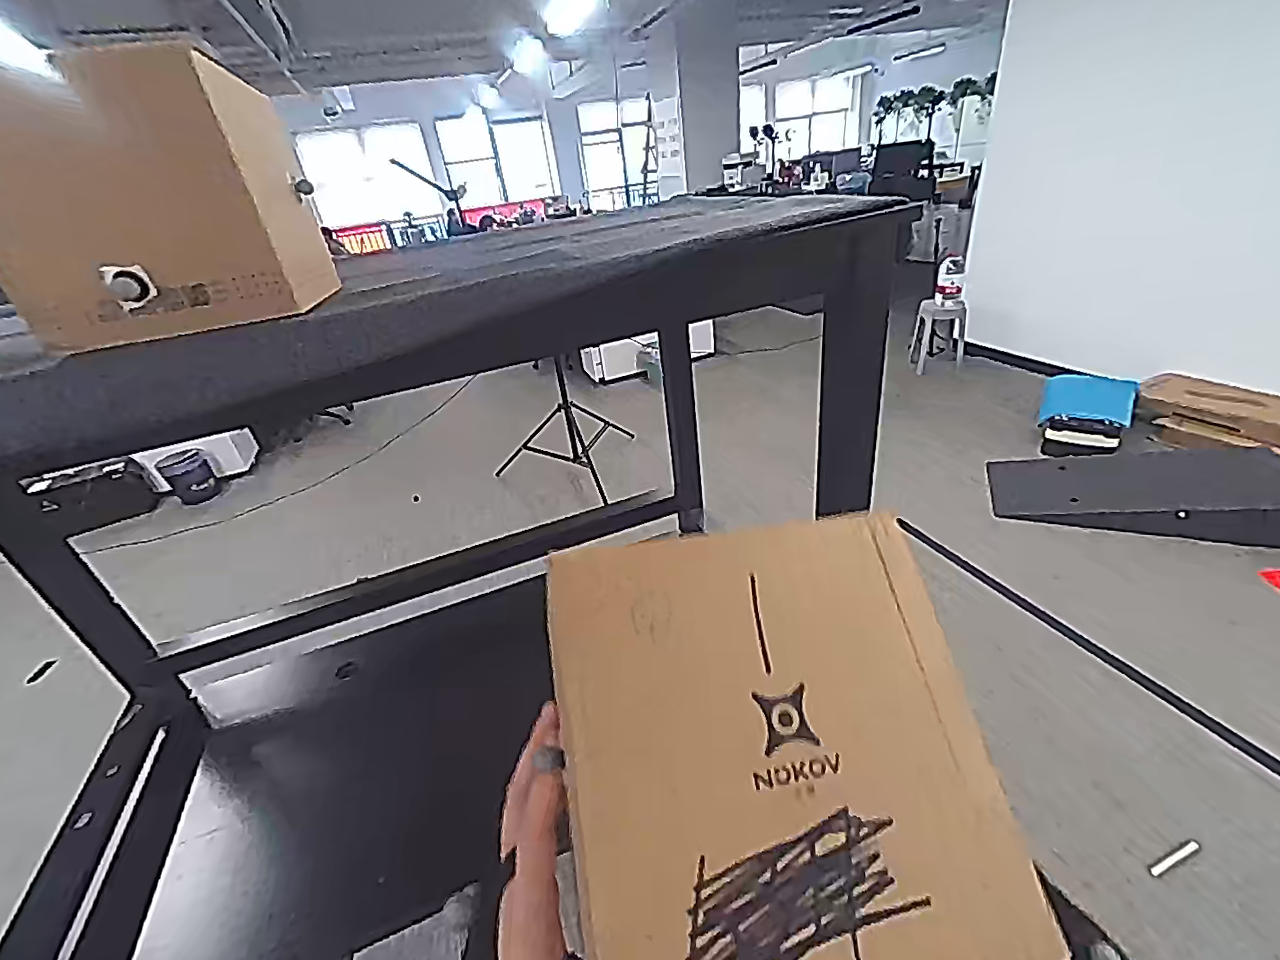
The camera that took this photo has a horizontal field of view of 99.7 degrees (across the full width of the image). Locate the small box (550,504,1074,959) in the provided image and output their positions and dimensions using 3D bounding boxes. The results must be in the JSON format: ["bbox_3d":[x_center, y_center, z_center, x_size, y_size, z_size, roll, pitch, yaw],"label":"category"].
[{"bbox_3d":[0.046,0.129,0.274,0.168,0.176,0.179,-6,67,-13],"label":"small box"}]

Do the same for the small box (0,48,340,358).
[{"bbox_3d":[-0.359,-0.204,0.421,0.168,0.176,0.179,-16,30,-12],"label":"small box"}]
